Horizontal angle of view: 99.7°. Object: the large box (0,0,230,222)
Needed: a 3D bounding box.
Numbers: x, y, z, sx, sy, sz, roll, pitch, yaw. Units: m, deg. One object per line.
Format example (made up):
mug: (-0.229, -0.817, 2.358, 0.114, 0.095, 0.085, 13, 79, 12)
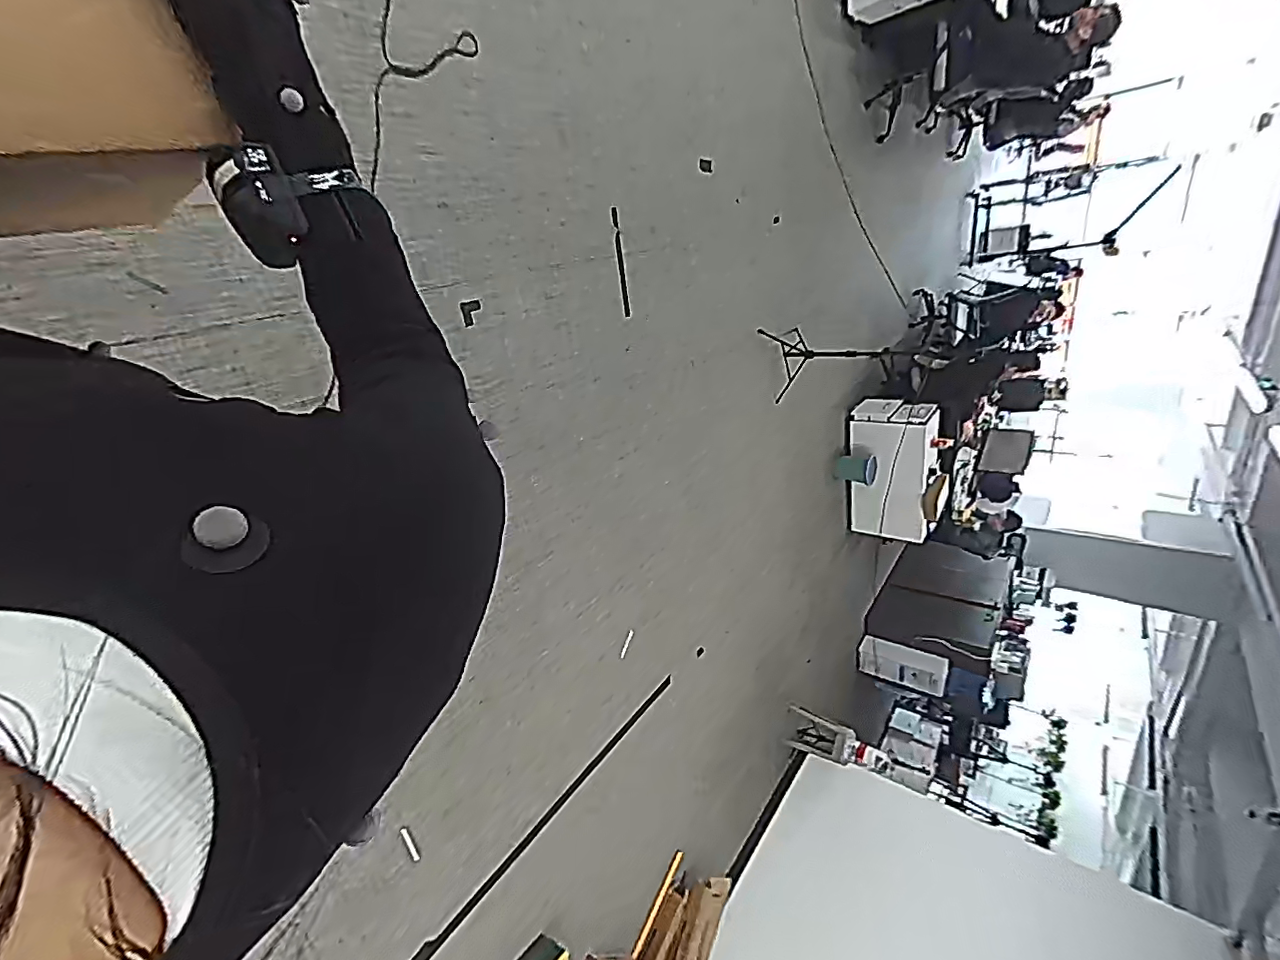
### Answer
large box: (-0.537, -0.303, 0.265, 0.408, 0.320, 0.320, -35, 125, -41)
